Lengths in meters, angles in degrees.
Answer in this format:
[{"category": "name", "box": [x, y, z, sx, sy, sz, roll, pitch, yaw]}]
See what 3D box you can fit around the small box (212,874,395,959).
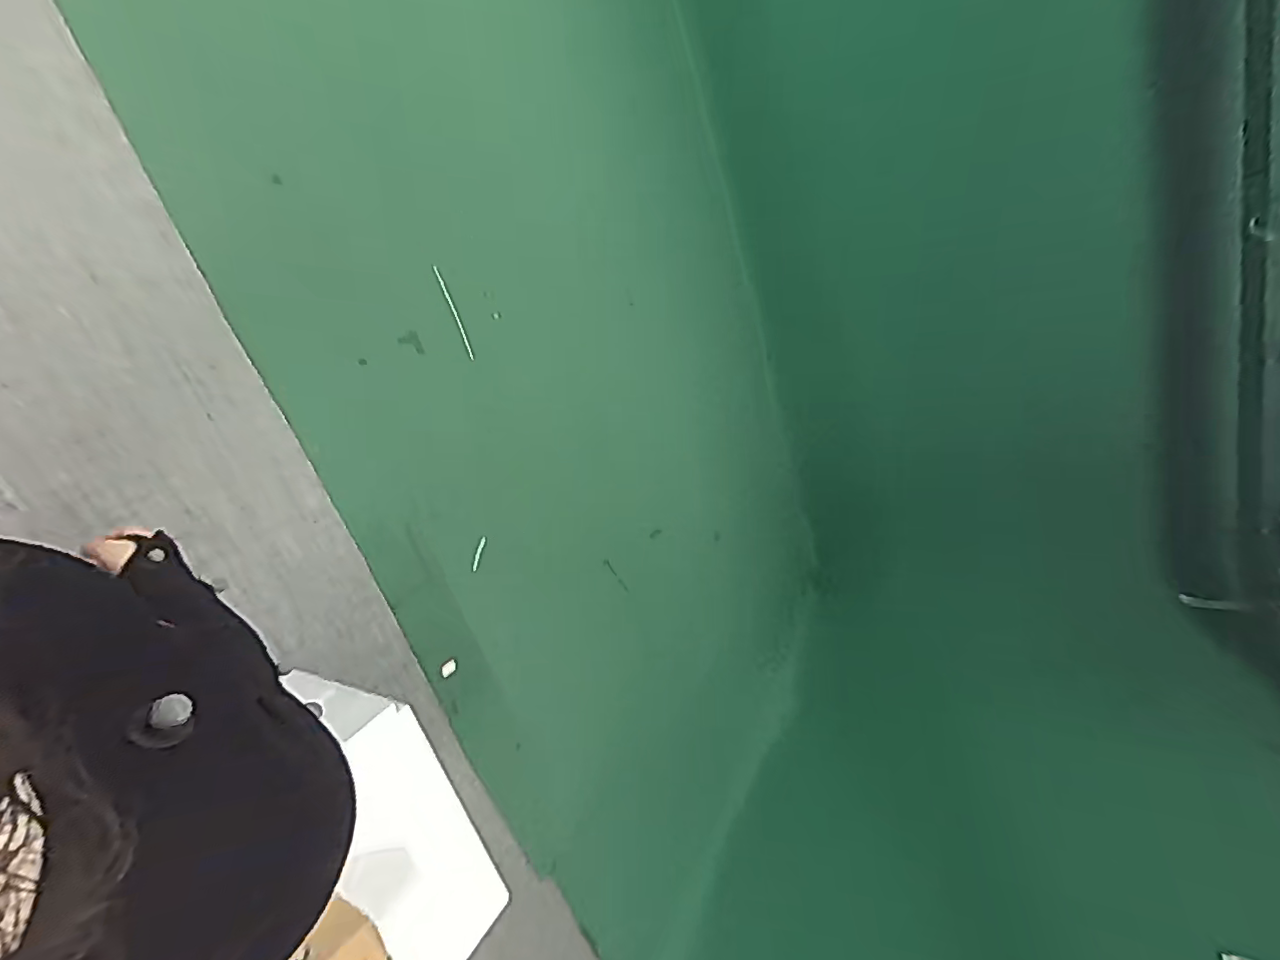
[{"category": "small box", "box": [-0.476, 0.709, 0.760, 0.179, 0.176, 0.168, -35, 113, -51]}]
